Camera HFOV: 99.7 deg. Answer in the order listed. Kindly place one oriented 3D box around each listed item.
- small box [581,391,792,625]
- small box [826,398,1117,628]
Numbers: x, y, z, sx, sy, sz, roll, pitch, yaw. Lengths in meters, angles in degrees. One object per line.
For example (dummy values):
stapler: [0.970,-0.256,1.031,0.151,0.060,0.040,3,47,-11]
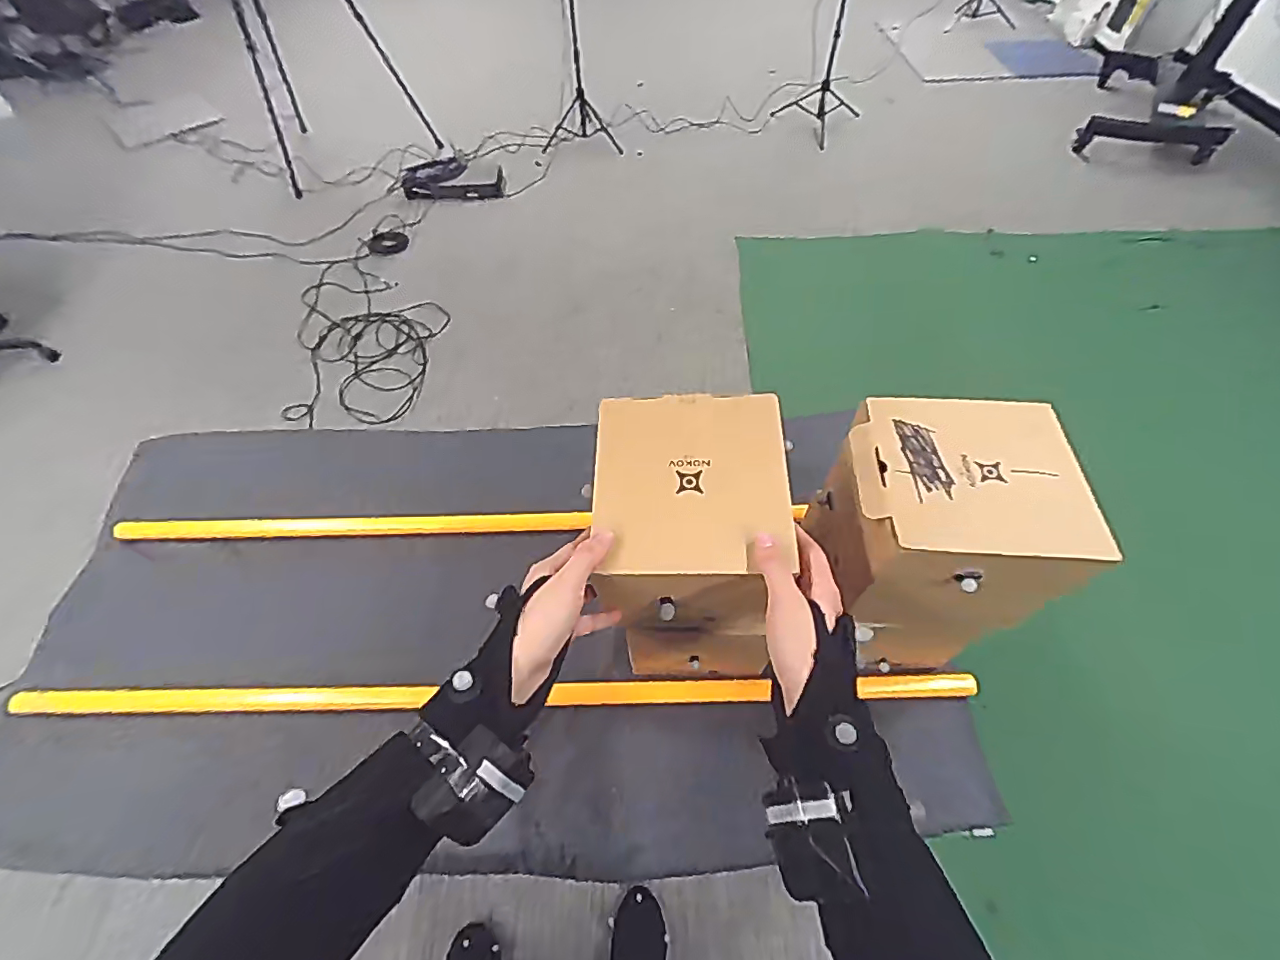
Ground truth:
small box: [0.043,0.038,0.520,0.168,0.176,0.179,-2,60,4]
small box: [0.294,0.038,0.535,0.179,0.176,0.168,3,57,3]
